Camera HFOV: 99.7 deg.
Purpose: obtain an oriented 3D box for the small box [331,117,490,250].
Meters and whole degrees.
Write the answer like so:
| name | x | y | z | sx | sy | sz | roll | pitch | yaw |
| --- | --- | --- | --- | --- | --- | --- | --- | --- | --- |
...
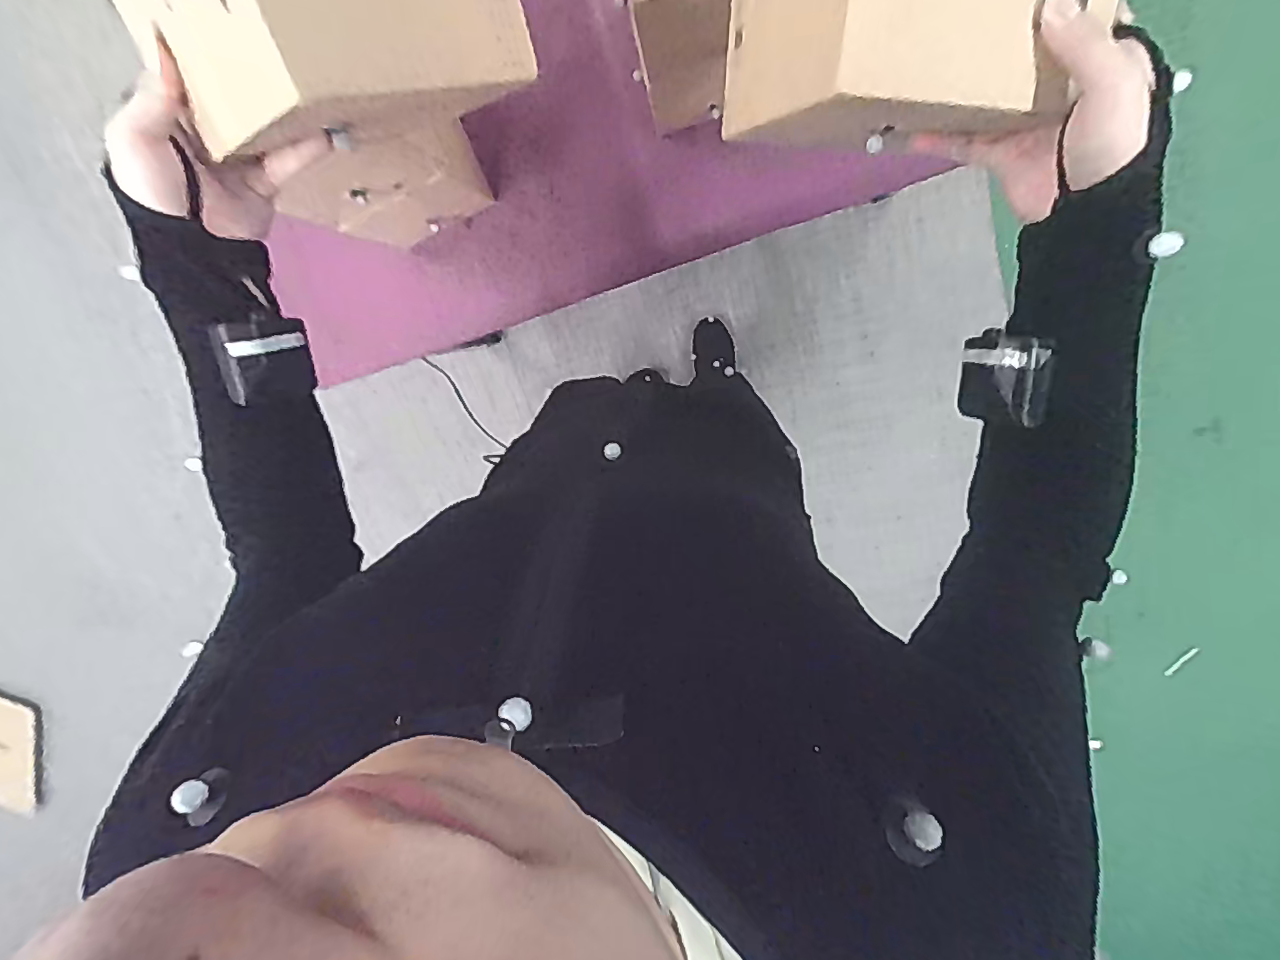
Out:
| name | x | y | z | sx | sy | sz | roll | pitch | yaw |
| --- | --- | --- | --- | --- | --- | --- | --- | --- | --- |
| small box | -0.334 | -0.438 | 0.733 | 0.168 | 0.176 | 0.179 | -21 | 102 | 12 |

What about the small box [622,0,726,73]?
| name | x | y | z | sx | sy | sz | roll | pitch | yaw |
| --- | --- | --- | --- | --- | --- | --- | --- | --- | --- |
| small box | 0.052 | -0.514 | 0.494 | 0.168 | 0.176 | 0.179 | -14 | 103 | 10 |

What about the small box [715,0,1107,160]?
| name | x | y | z | sx | sy | sz | roll | pitch | yaw |
| --- | --- | --- | --- | --- | --- | --- | --- | --- | --- |
| small box | 0.165 | -0.317 | 0.352 | 0.179 | 0.176 | 0.168 | -3 | 114 | -12 |

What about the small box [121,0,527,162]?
| name | x | y | z | sx | sy | sz | roll | pitch | yaw |
| --- | --- | --- | --- | --- | --- | --- | --- | --- | --- |
| small box | -0.202 | -0.312 | 0.332 | 0.179 | 0.176 | 0.168 | 13 | 129 | 39 |

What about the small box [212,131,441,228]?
| name | x | y | z | sx | sy | sz | roll | pitch | yaw |
| --- | --- | --- | --- | --- | --- | --- | --- | --- | --- |
| small box | -0.350 | -0.399 | 0.575 | 0.168 | 0.176 | 0.179 | -23 | 102 | 12 |
